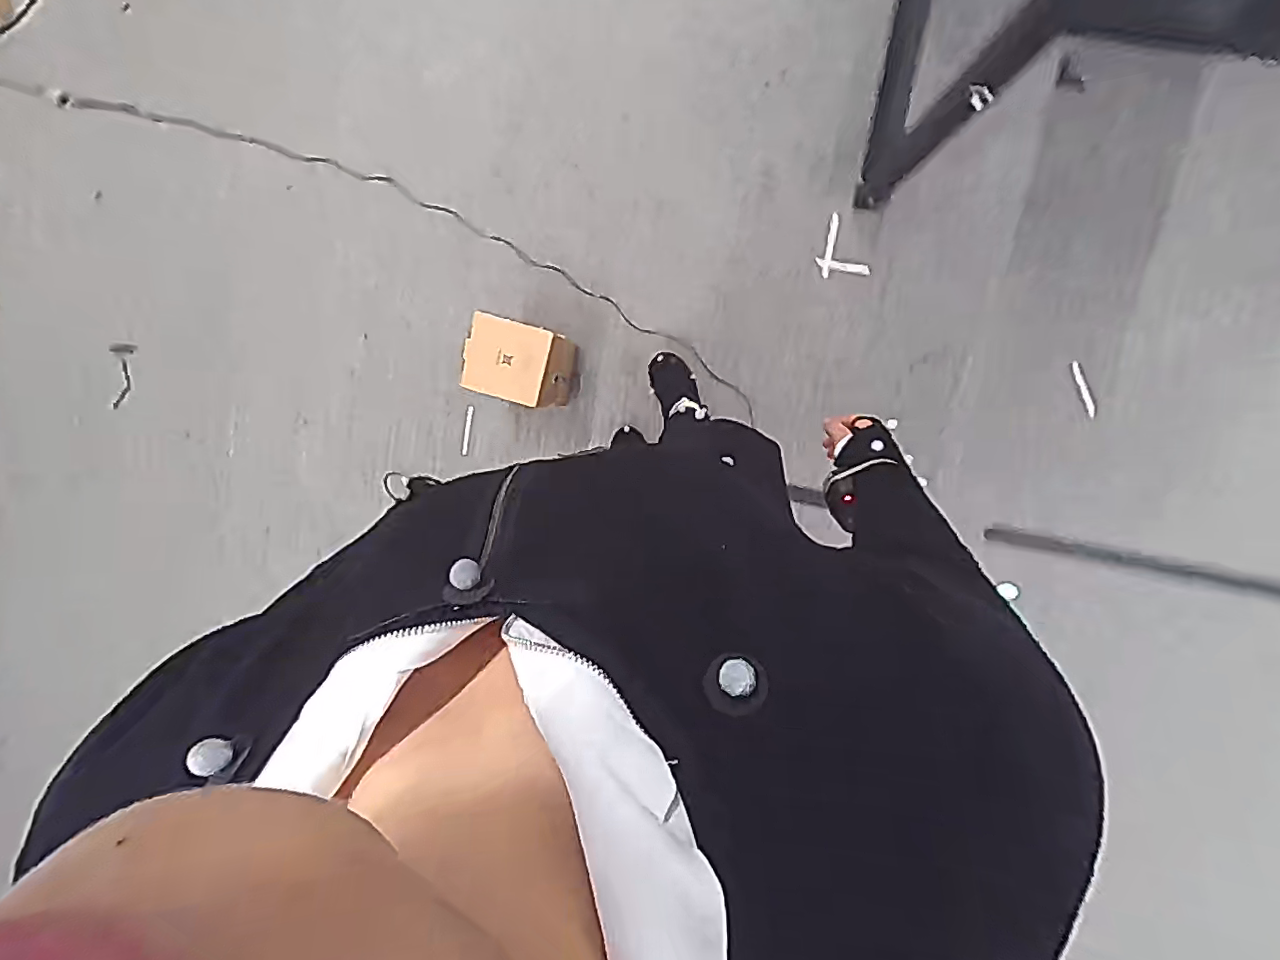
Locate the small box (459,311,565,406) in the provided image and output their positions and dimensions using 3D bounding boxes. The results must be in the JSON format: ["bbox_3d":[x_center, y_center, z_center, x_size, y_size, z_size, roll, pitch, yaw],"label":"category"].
[{"bbox_3d":[-0.283,-0.269,1.225,0.179,0.176,0.168,15,100,0],"label":"small box"}]

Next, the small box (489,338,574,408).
[{"bbox_3d":[-0.273,-0.289,1.388,0.168,0.176,0.179,10,100,1],"label":"small box"}]
